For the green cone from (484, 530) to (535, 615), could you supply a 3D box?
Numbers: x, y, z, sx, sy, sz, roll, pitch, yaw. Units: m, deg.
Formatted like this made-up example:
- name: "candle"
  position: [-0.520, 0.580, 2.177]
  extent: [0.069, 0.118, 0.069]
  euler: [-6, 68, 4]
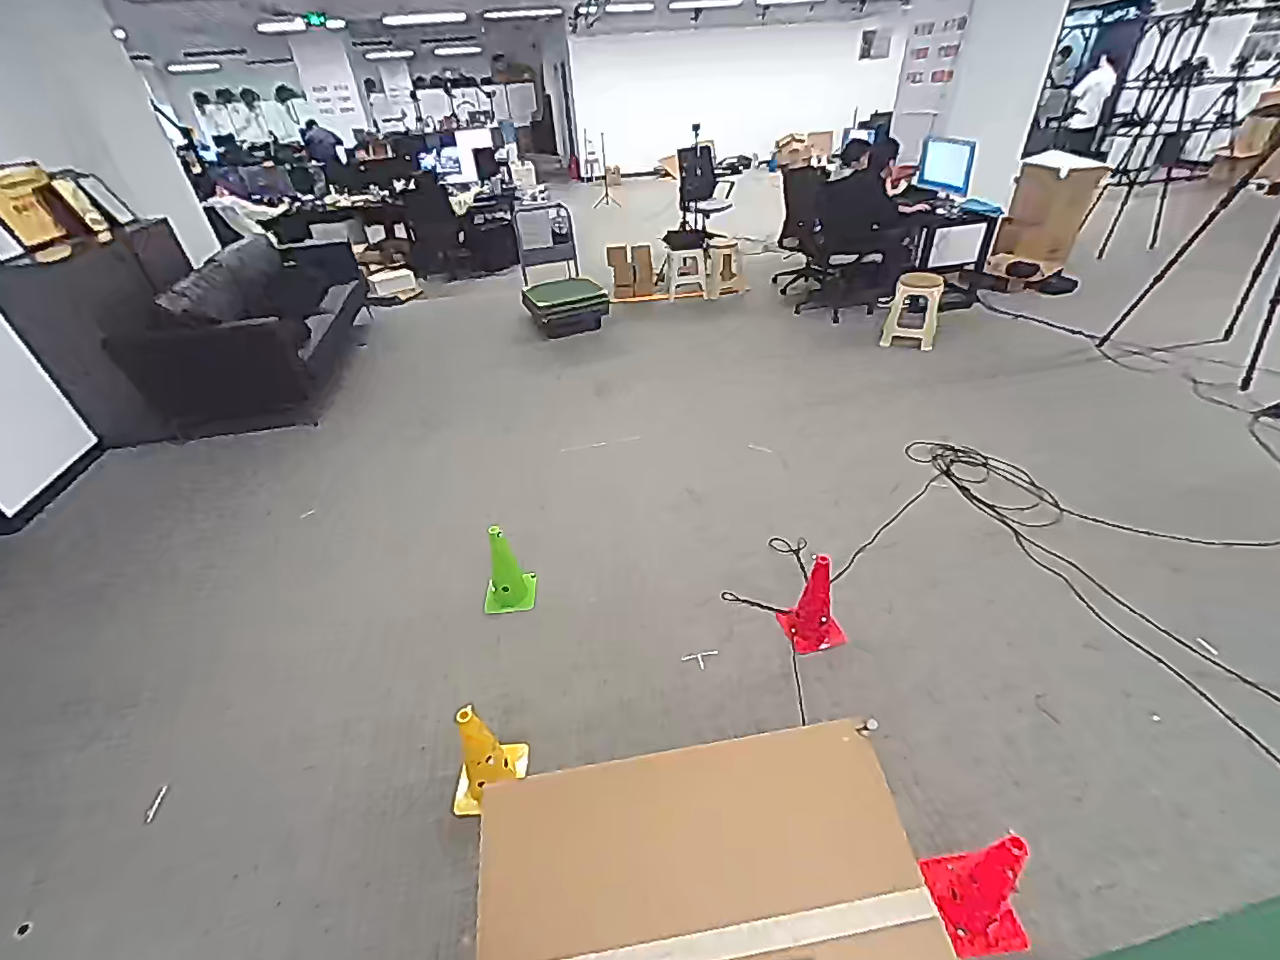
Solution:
- name: "green cone"
  position: [-0.551, 0.339, 2.139]
  extent: [0.200, 0.368, 0.202]
  euler: [-7, 38, -2]

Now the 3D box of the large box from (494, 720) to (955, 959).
- name: "large box"
  position: [0.077, 0.502, 0.596]
  extent: [0.408, 0.320, 0.320]
  euler: [-10, 53, -2]

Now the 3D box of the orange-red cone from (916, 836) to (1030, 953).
- name: "orange-red cone"
  position: [0.802, 0.900, 1.232]
  extent: [0.199, 0.360, 0.198]
  euler: [-4, 37, -2]
